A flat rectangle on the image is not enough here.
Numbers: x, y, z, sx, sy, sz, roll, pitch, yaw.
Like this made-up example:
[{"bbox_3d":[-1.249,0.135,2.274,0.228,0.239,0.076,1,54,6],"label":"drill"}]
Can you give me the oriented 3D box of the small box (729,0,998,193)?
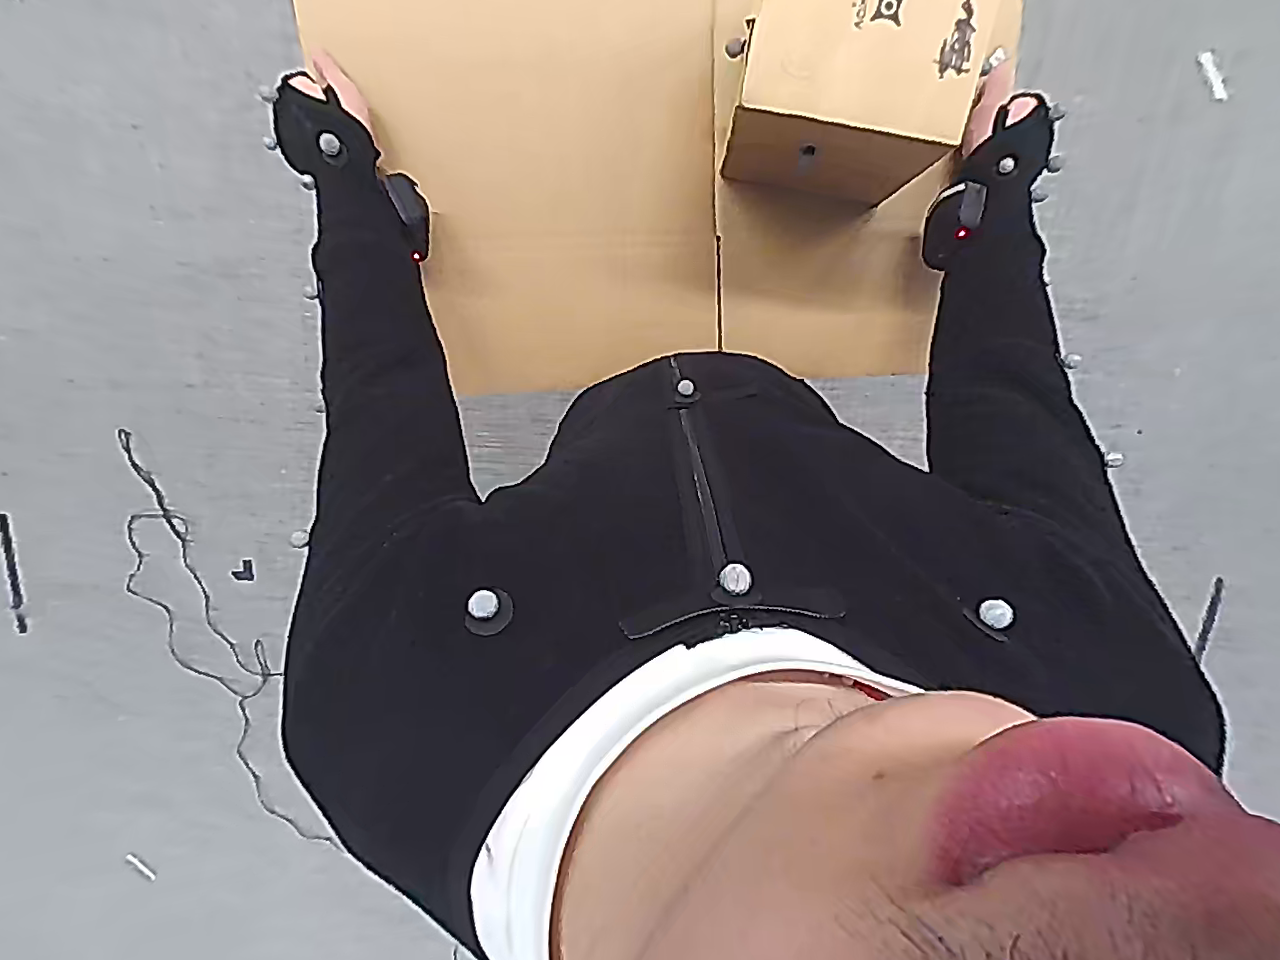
[{"bbox_3d":[0.183,-0.376,0.480,0.179,0.176,0.168,11,104,2],"label":"small box"}]
